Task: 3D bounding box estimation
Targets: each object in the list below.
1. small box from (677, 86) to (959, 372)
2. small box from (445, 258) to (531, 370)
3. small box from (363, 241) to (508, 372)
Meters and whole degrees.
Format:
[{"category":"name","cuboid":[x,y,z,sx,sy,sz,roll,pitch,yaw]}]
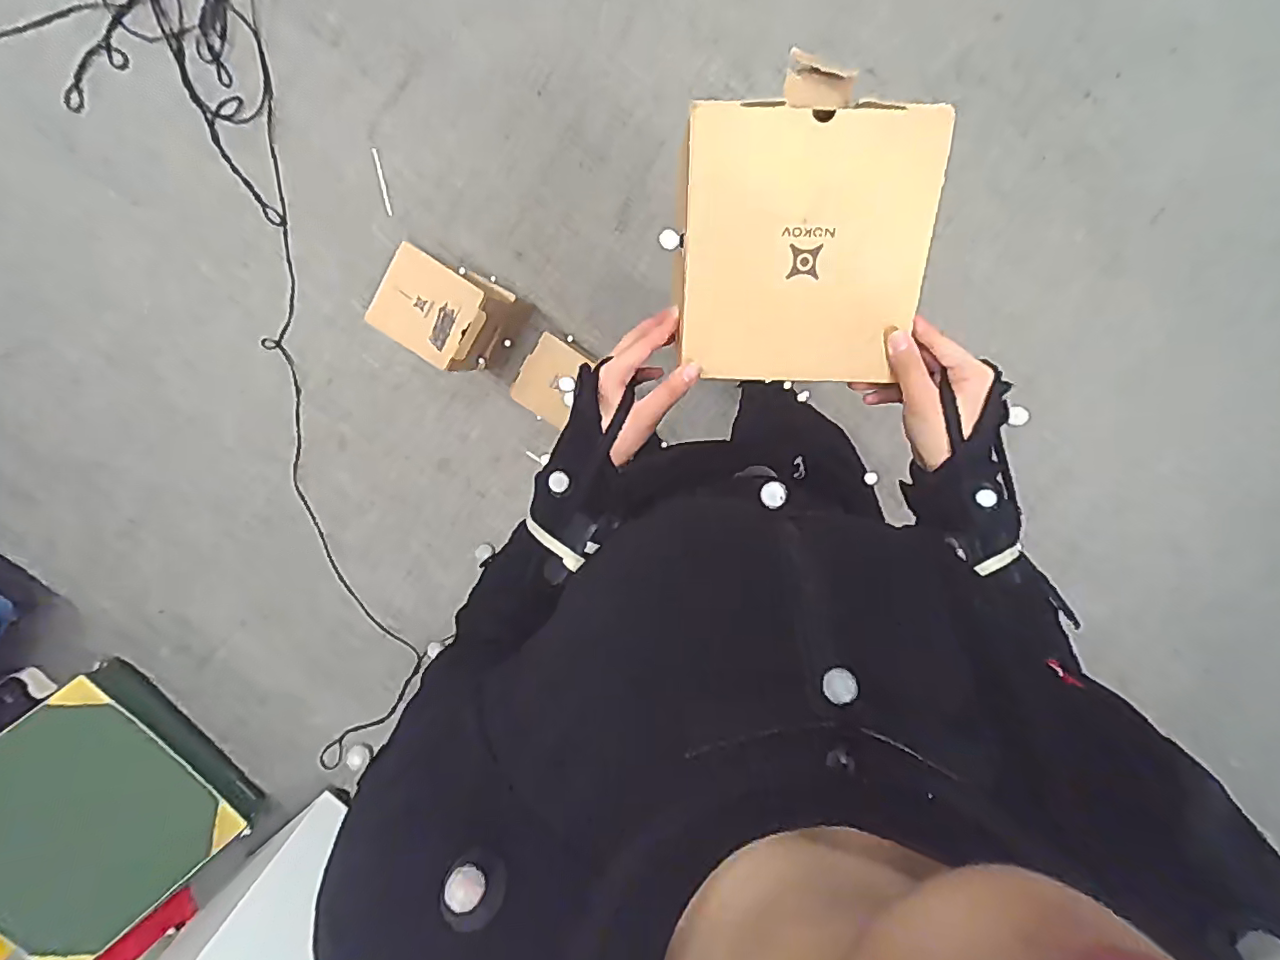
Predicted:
[{"category":"small box","cuboid":[0.117,-0.192,0.438,0.168,0.176,0.179,1,112,2]},{"category":"small box","cuboid":[-0.364,-0.363,1.209,0.168,0.176,0.179,28,103,-3]},{"category":"small box","cuboid":[-0.383,-0.328,1.048,0.179,0.176,0.168,33,102,-4]}]
